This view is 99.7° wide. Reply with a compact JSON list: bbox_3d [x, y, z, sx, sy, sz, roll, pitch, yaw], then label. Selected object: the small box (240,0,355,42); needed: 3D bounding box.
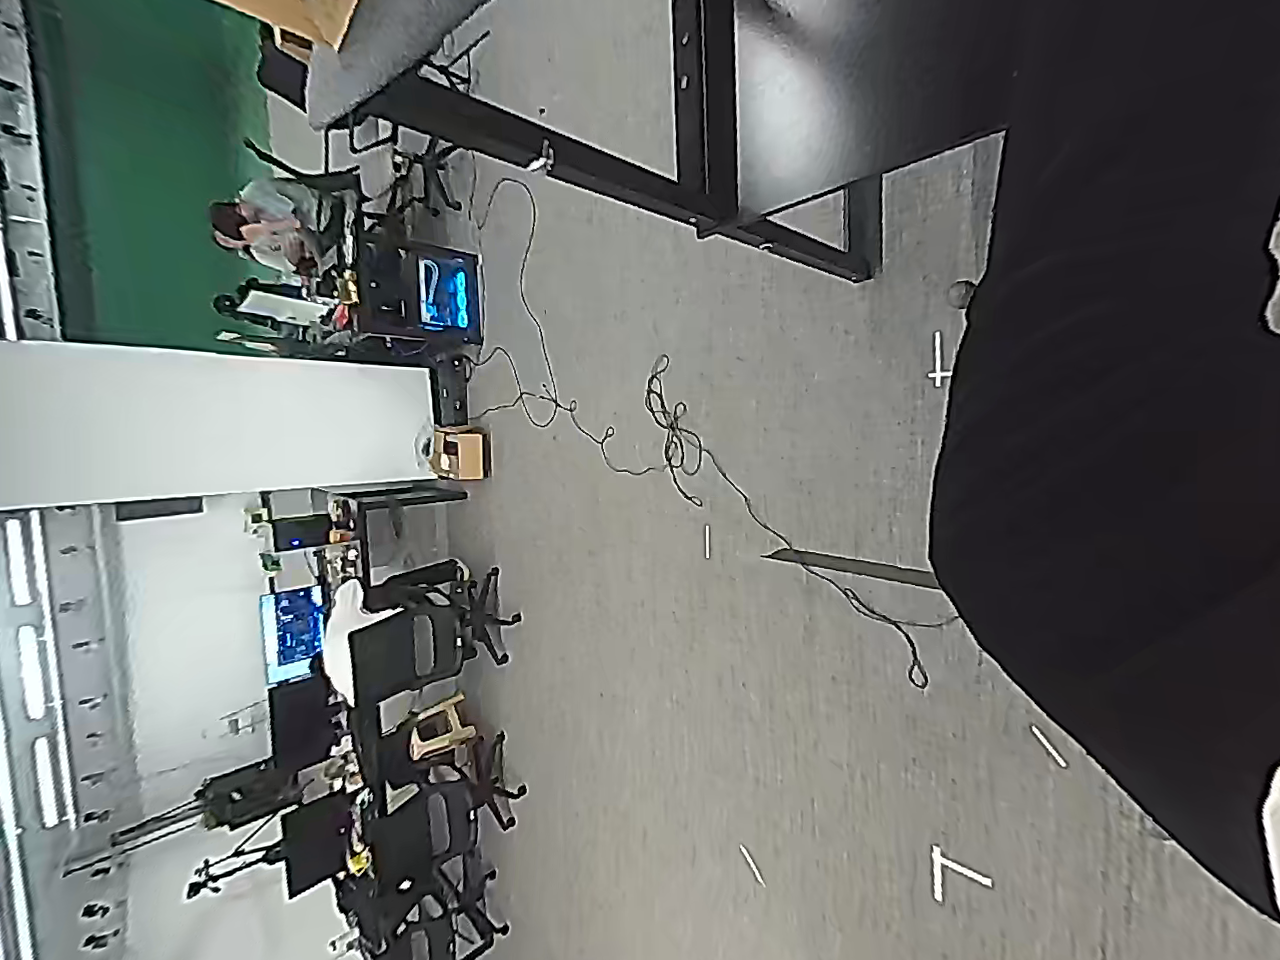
[{"bbox_3d":[-0.390,-0.615,0.554,0.168,0.176,0.179,-10,88,47],"label":"small box"}]
